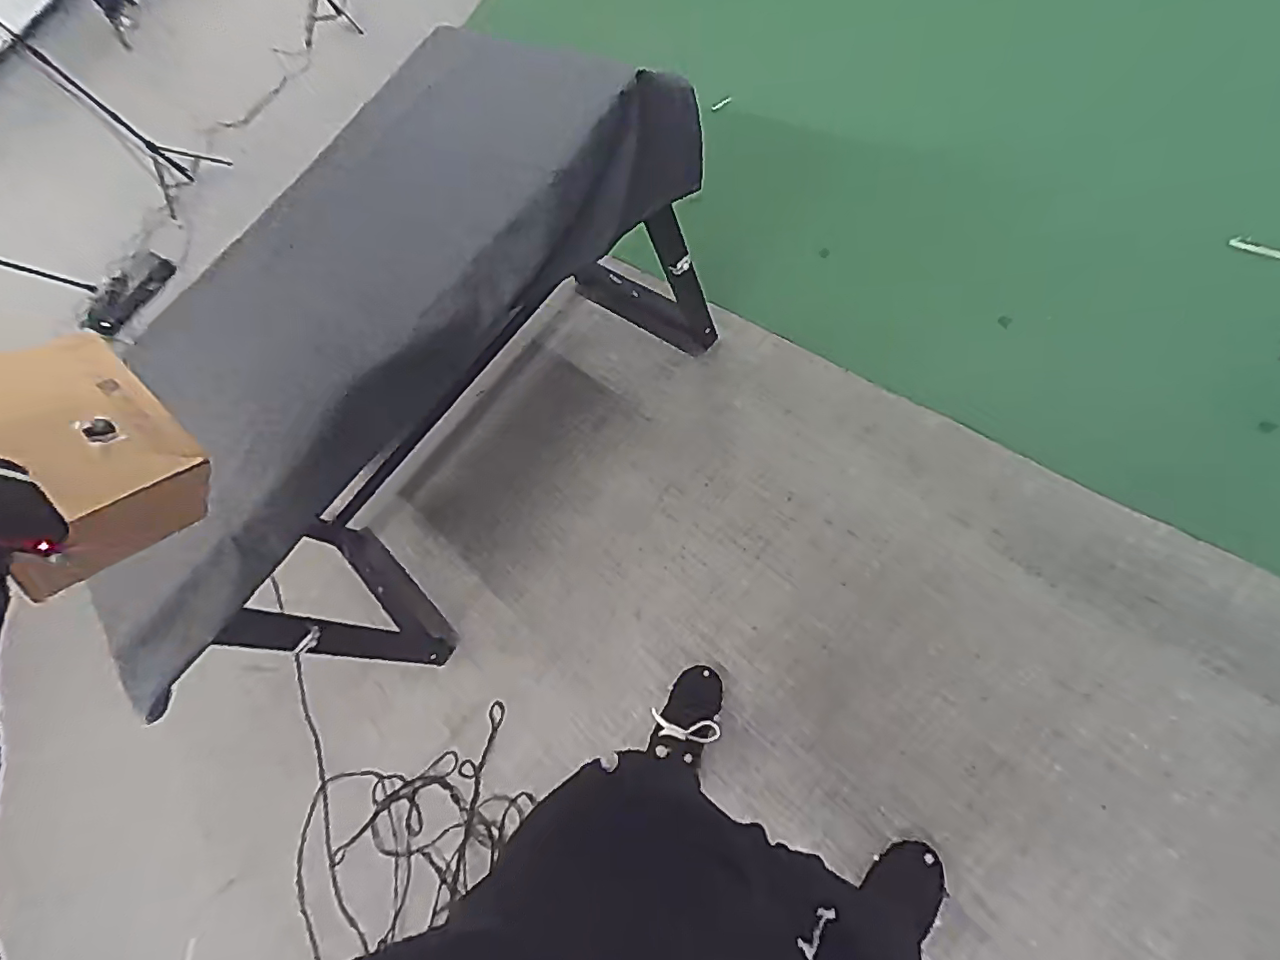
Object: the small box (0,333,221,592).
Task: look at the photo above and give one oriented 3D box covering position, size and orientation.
[{"bbox_3d":[-0.566,-0.019,0.545,0.179,0.176,0.168,-32,98,43],"label":"small box"}]
